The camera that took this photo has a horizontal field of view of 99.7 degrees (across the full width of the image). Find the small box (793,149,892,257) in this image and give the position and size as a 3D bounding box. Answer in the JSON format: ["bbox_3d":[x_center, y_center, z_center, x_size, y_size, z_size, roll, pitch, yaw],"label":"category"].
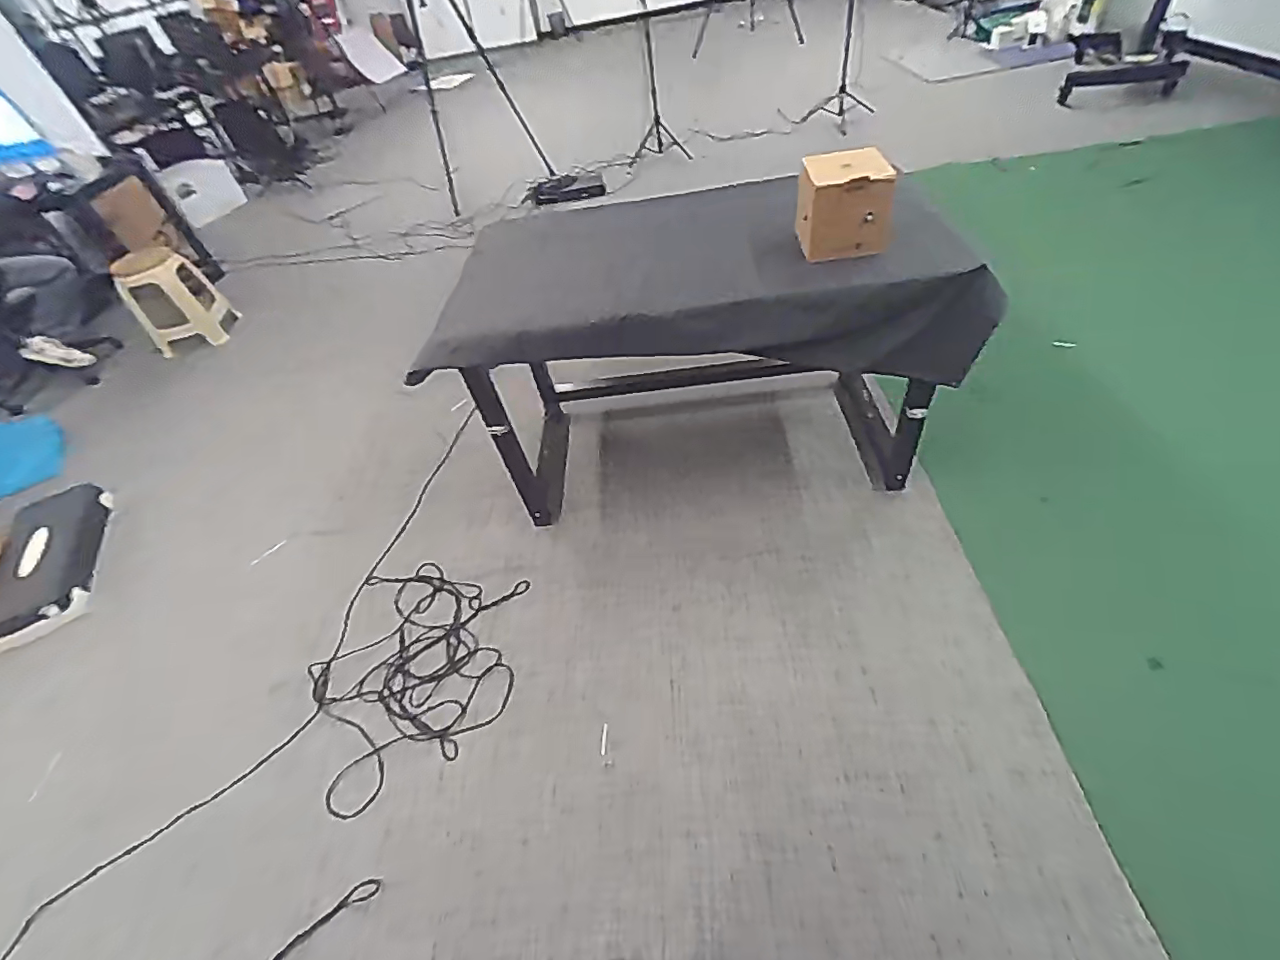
[{"bbox_3d":[0.443,-0.614,1.212,0.168,0.176,0.179,-4,46,6],"label":"small box"}]
